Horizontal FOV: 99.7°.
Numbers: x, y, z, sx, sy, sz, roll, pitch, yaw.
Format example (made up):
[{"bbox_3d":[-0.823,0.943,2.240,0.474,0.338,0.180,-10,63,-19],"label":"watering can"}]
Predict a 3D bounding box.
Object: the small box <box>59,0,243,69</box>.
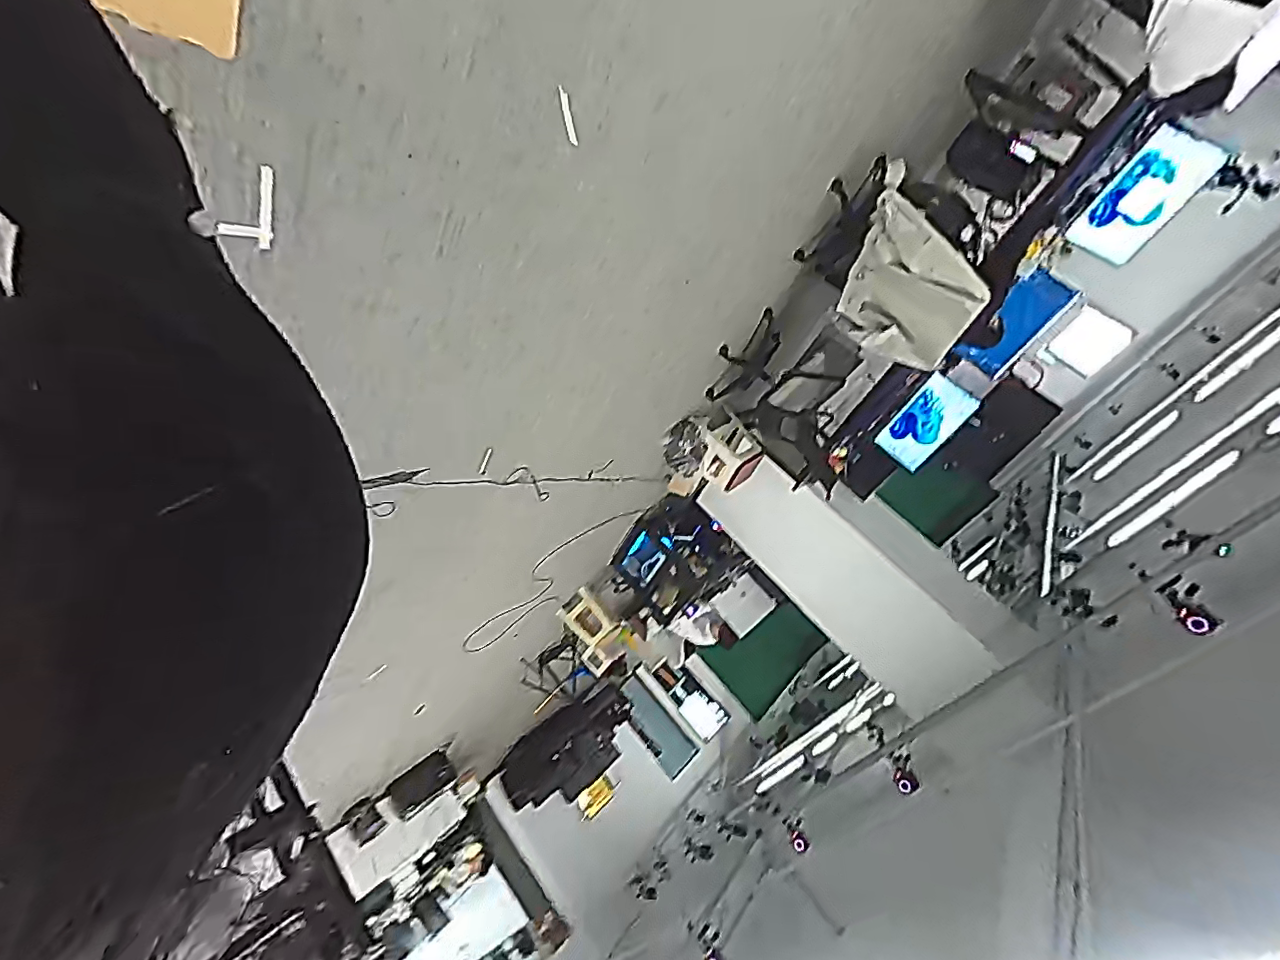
[{"bbox_3d":[-0.585,-0.636,0.621,0.168,0.176,0.179,-16,147,-53],"label":"small box"}]
